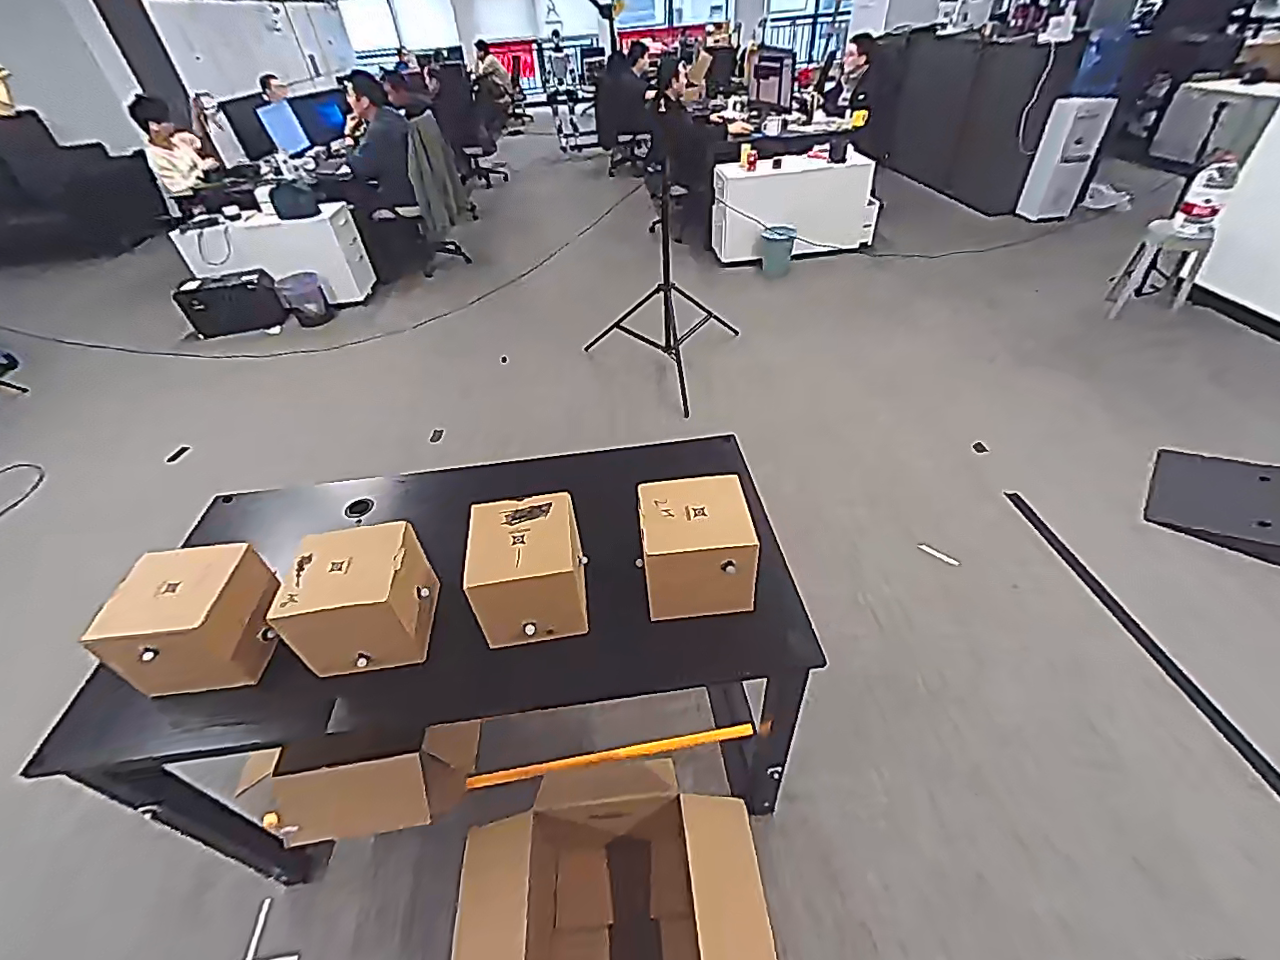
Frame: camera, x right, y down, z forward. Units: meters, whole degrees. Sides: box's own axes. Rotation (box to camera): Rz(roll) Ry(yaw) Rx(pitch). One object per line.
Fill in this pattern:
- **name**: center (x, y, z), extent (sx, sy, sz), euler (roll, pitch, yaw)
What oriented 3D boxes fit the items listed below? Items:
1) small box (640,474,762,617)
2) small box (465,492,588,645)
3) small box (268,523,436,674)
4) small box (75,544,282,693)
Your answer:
- **small box**: center (0.095, 0.111, 0.915), extent (0.179, 0.176, 0.168), euler (-6, 40, -1)
- **small box**: center (-0.182, 0.147, 0.905), extent (0.168, 0.176, 0.179), euler (-9, 42, -3)
- **small box**: center (-0.449, 0.194, 0.882), extent (0.179, 0.176, 0.168), euler (-7, 41, -4)
- **small box**: center (-0.710, 0.225, 0.872), extent (0.179, 0.176, 0.168), euler (-5, 42, -2)
